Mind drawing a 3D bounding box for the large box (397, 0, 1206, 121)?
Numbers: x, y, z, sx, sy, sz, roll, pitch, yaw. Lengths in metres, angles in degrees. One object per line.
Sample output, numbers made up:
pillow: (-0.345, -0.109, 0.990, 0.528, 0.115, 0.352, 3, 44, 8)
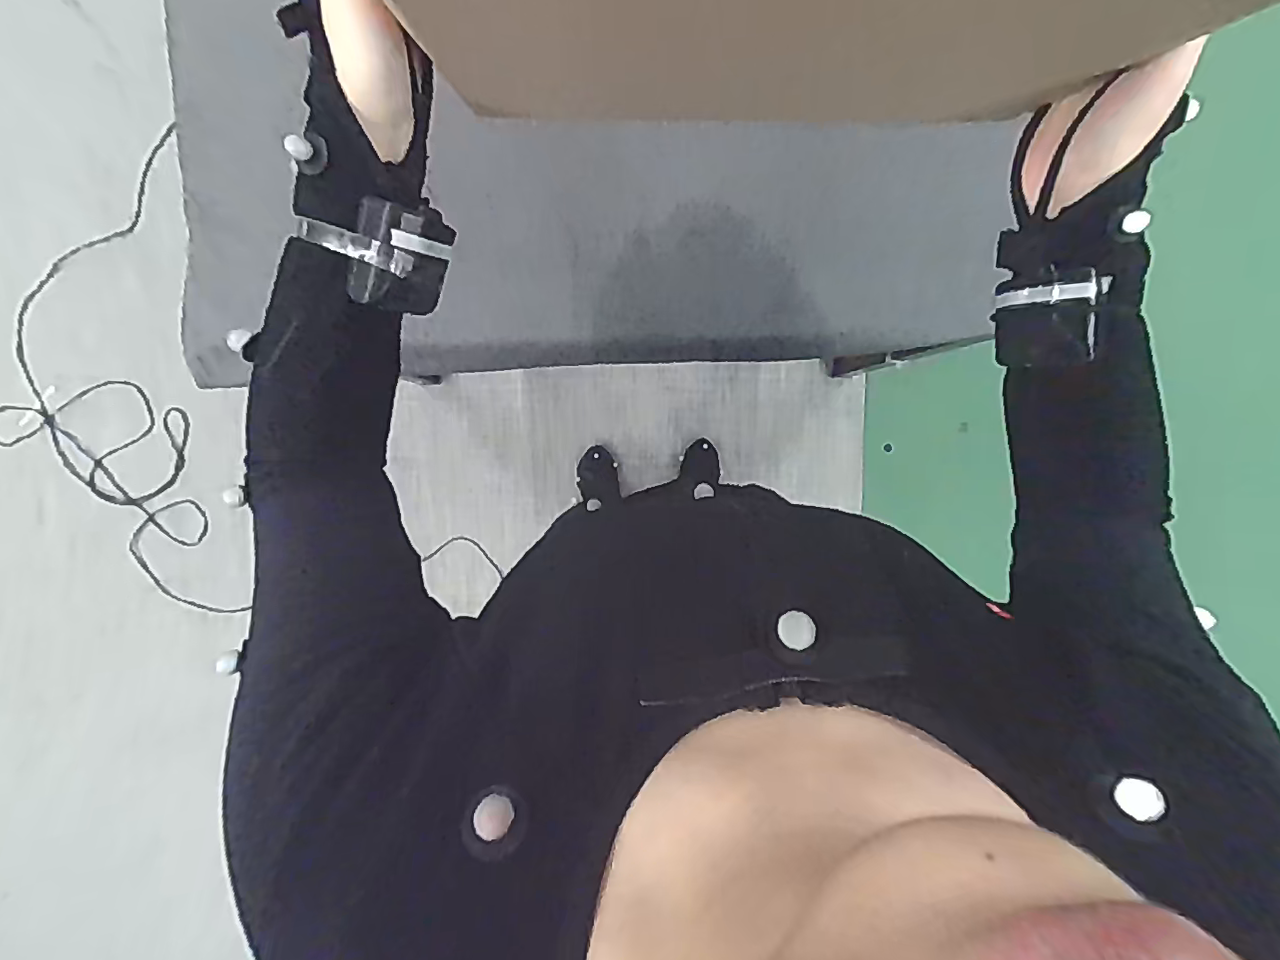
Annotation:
large box: (0.079, -0.371, 0.219, 0.408, 0.320, 0.320, -2, 110, -2)
